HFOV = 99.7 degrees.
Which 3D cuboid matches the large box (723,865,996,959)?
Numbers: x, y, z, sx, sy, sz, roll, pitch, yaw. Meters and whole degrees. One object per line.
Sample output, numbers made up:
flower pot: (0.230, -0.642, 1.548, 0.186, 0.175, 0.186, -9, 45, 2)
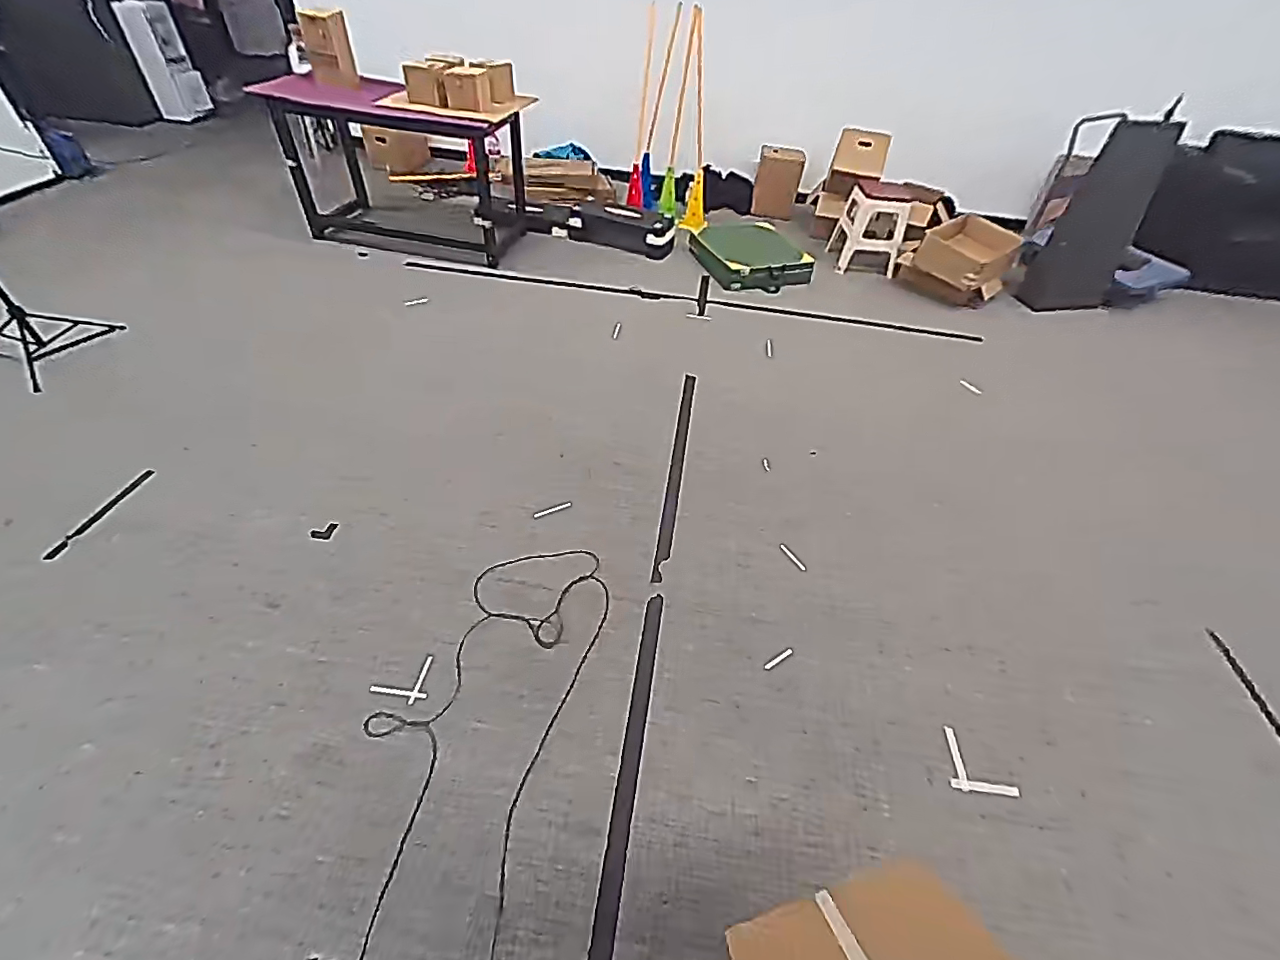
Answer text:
large box: (0.325, 0.755, 0.605, 0.320, 0.408, 0.320, -19, 87, -5)
